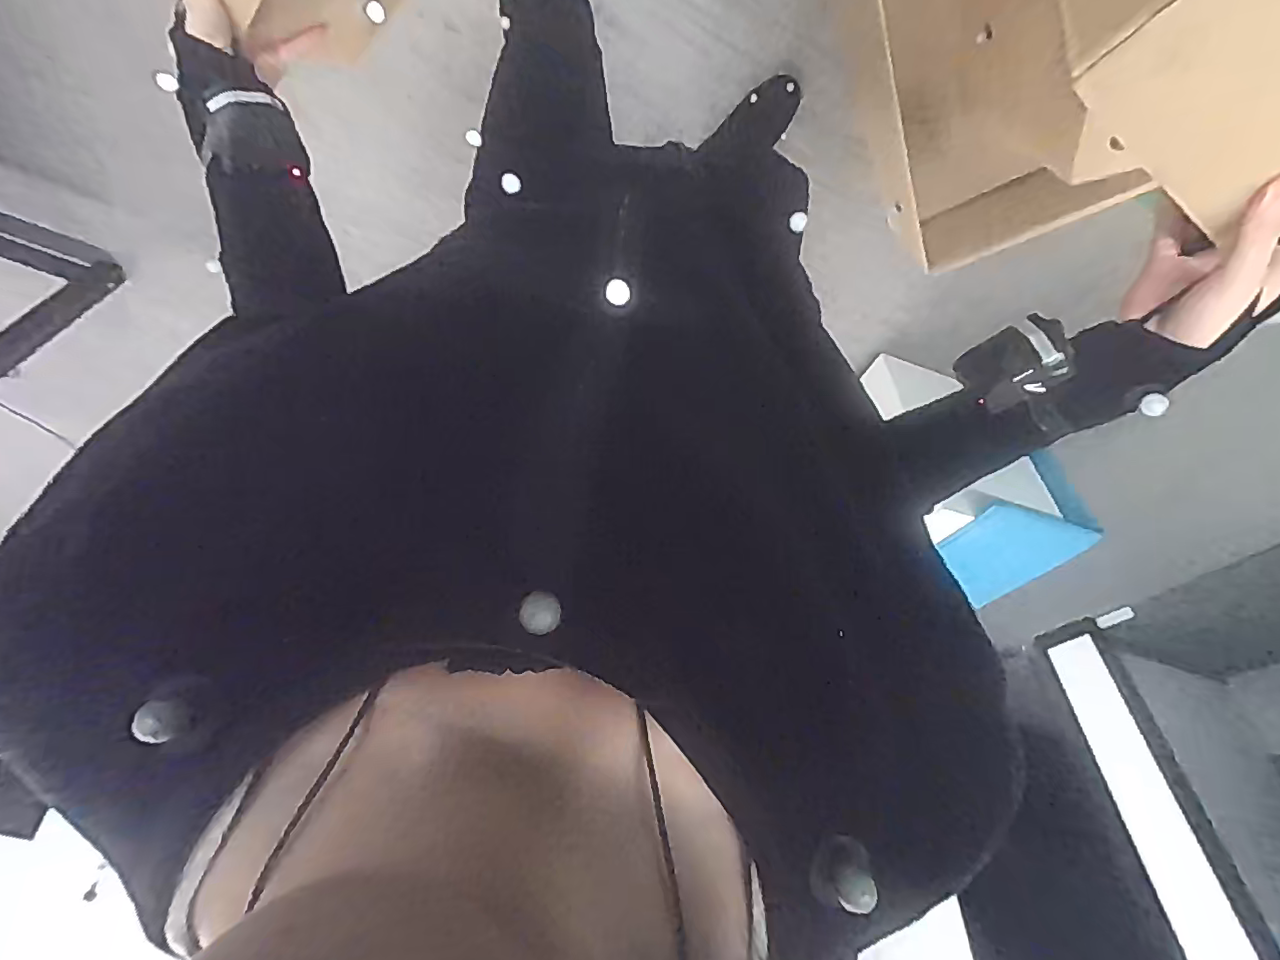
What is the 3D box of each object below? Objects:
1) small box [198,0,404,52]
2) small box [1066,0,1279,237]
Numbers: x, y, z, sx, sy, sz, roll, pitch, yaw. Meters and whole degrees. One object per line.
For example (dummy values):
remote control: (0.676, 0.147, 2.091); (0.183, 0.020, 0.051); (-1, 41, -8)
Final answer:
small box: (-0.311, -0.512, 0.459); (0.168, 0.176, 0.179); (-26, 111, 30)
small box: (0.333, -0.269, 0.258); (0.179, 0.176, 0.168); (23, 156, -21)
